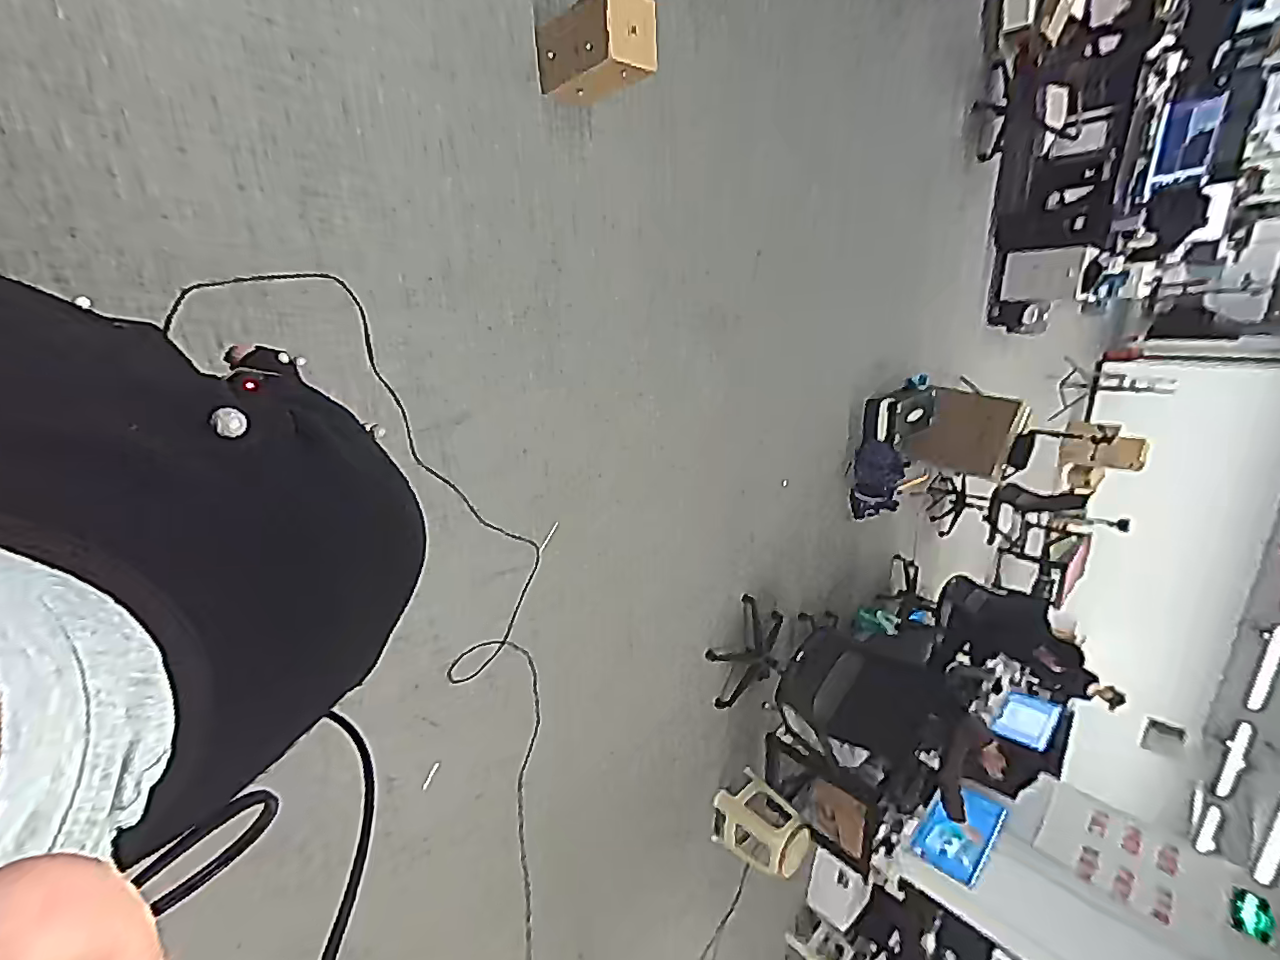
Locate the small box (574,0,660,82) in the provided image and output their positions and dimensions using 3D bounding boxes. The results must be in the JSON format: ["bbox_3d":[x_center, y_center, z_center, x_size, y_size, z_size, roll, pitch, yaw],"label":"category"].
[{"bbox_3d":[-0.067,-1.217,1.474,0.179,0.176,0.168,-21,118,-40],"label":"small box"}]

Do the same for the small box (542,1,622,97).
[{"bbox_3d":[-0.176,-1.254,1.590,0.179,0.176,0.168,-20,116,-38],"label":"small box"}]
